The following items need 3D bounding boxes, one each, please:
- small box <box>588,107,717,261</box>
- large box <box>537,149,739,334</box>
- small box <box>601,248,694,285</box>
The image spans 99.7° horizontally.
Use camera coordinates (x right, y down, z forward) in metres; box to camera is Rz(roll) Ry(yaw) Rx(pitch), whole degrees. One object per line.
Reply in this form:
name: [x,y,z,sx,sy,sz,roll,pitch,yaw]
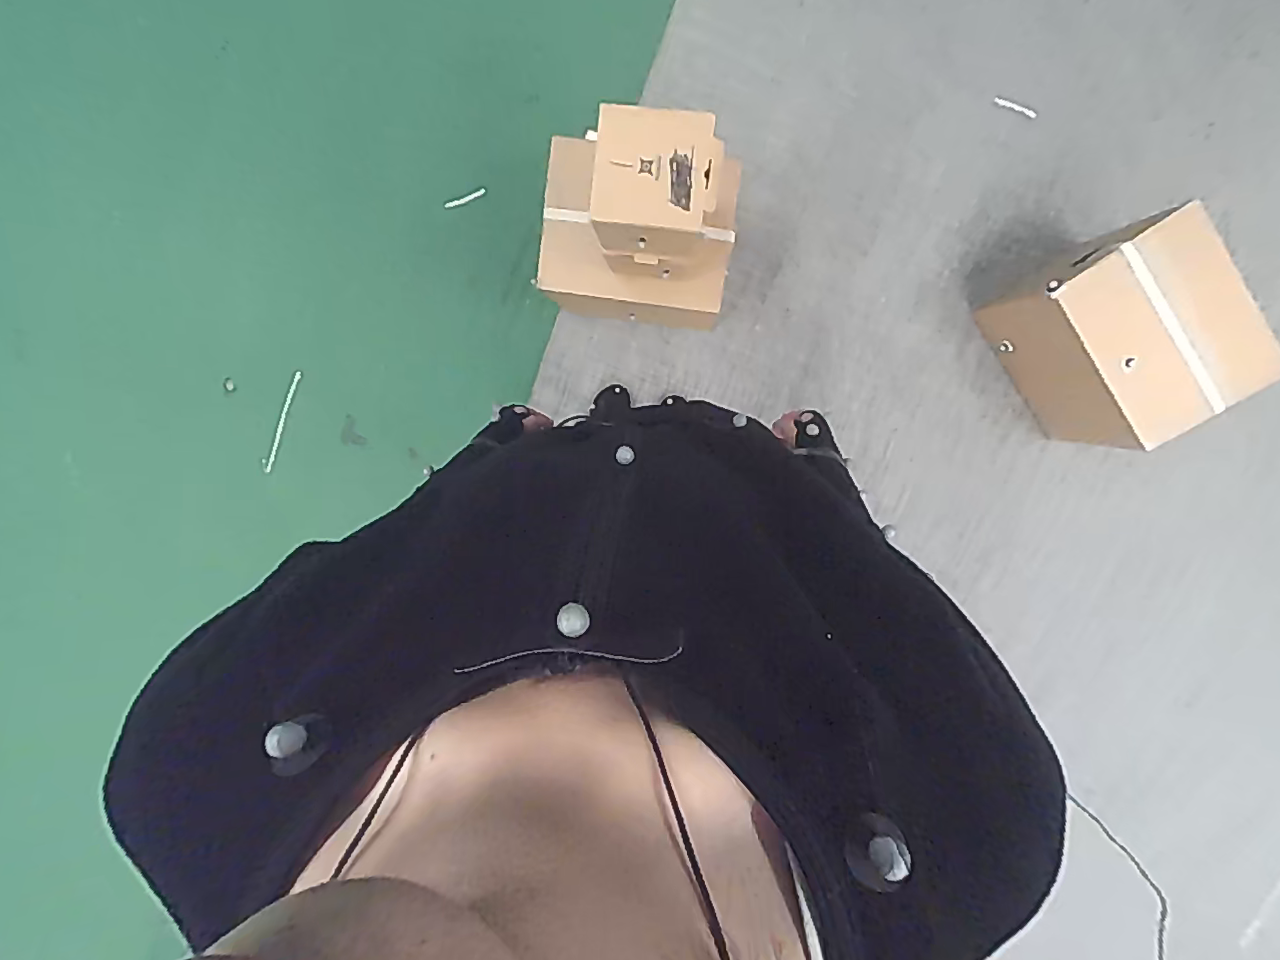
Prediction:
small box: [0.021,-0.467,0.880,0.179,0.176,0.168,8,98,3]
large box: [0.005,-0.539,1.285,0.408,0.320,0.320,9,97,4]
small box: [0.028,-0.487,1.043,0.168,0.176,0.179,9,98,2]
